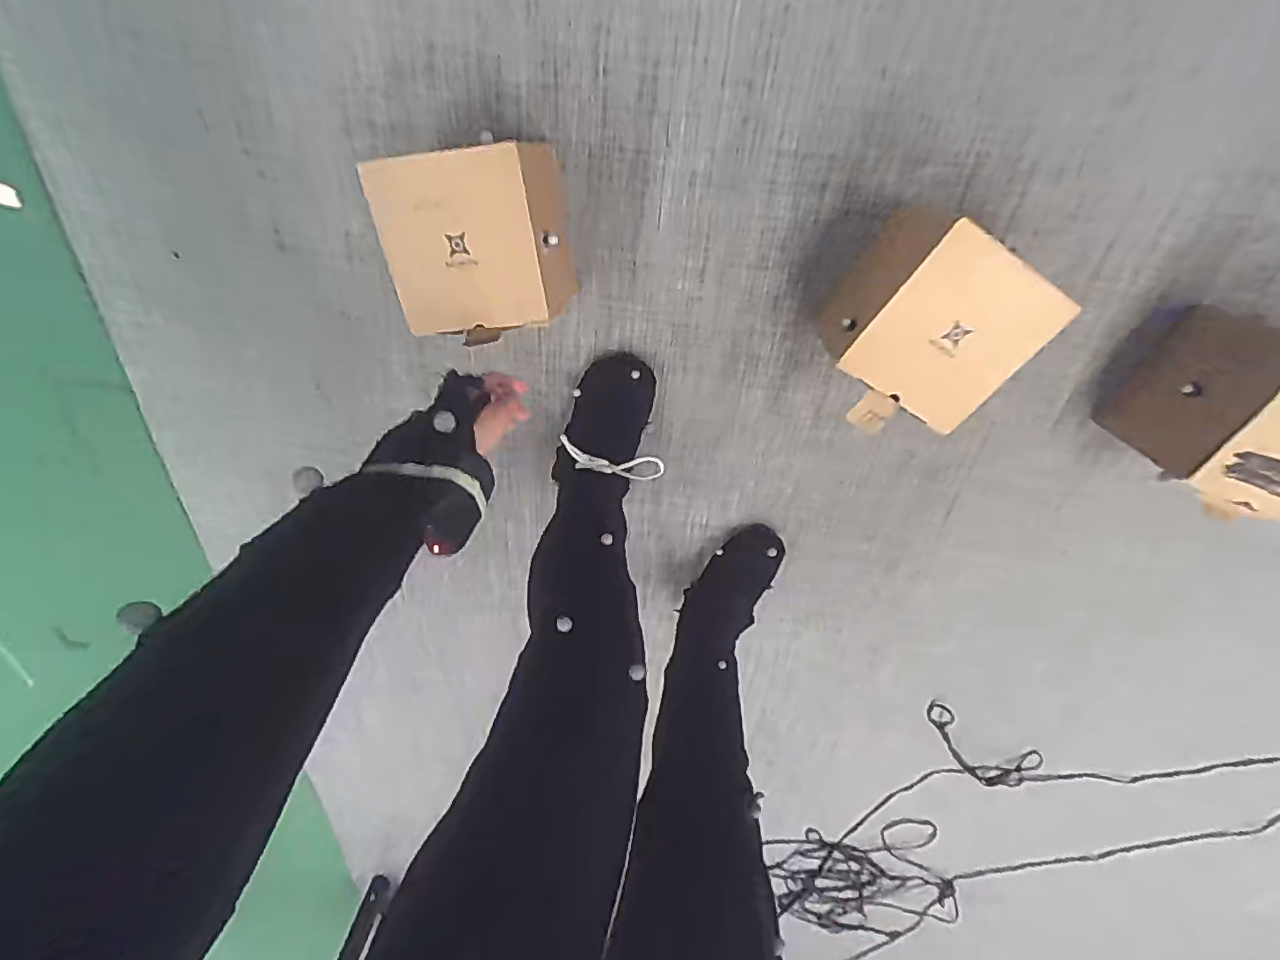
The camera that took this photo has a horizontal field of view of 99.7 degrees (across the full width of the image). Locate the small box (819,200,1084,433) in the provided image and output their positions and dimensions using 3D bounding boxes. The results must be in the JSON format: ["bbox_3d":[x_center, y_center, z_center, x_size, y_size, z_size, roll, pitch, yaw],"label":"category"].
[{"bbox_3d":[0.331,-0.193,0.620,0.168,0.176,0.179,29,121,-12],"label":"small box"}]

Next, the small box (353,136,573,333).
[{"bbox_3d":[-0.181,-0.282,0.619,0.168,0.176,0.179,-3,120,7],"label":"small box"}]
